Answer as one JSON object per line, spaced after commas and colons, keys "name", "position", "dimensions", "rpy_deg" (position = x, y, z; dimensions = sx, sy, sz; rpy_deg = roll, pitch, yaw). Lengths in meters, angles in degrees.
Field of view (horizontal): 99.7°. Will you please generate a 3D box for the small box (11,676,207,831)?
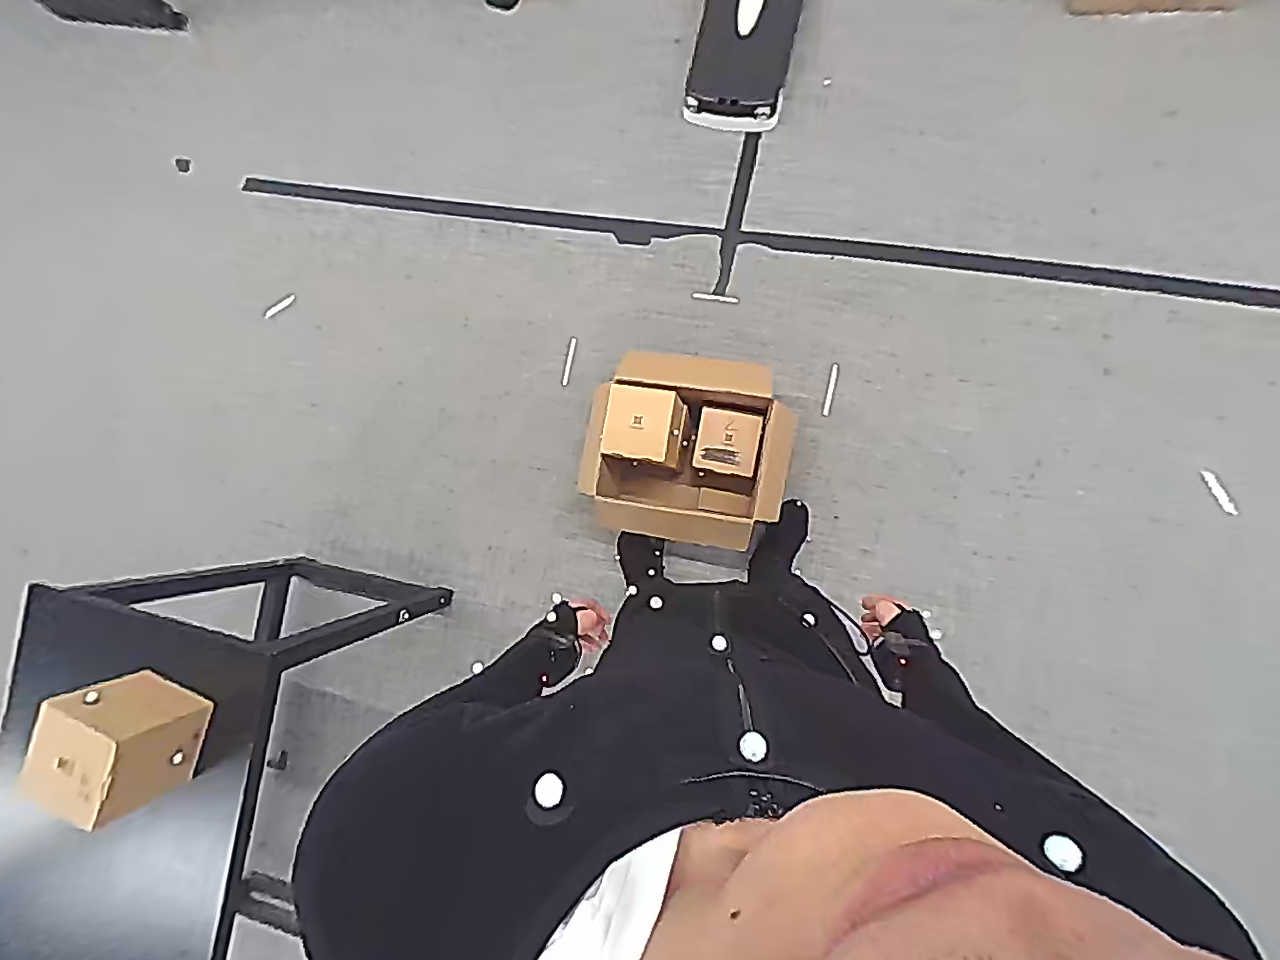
{"name": "small box", "position": [-0.951, 0.478, 0.981], "dimensions": [0.179, 0.176, 0.168], "rpy_deg": [19, 93, 10]}
